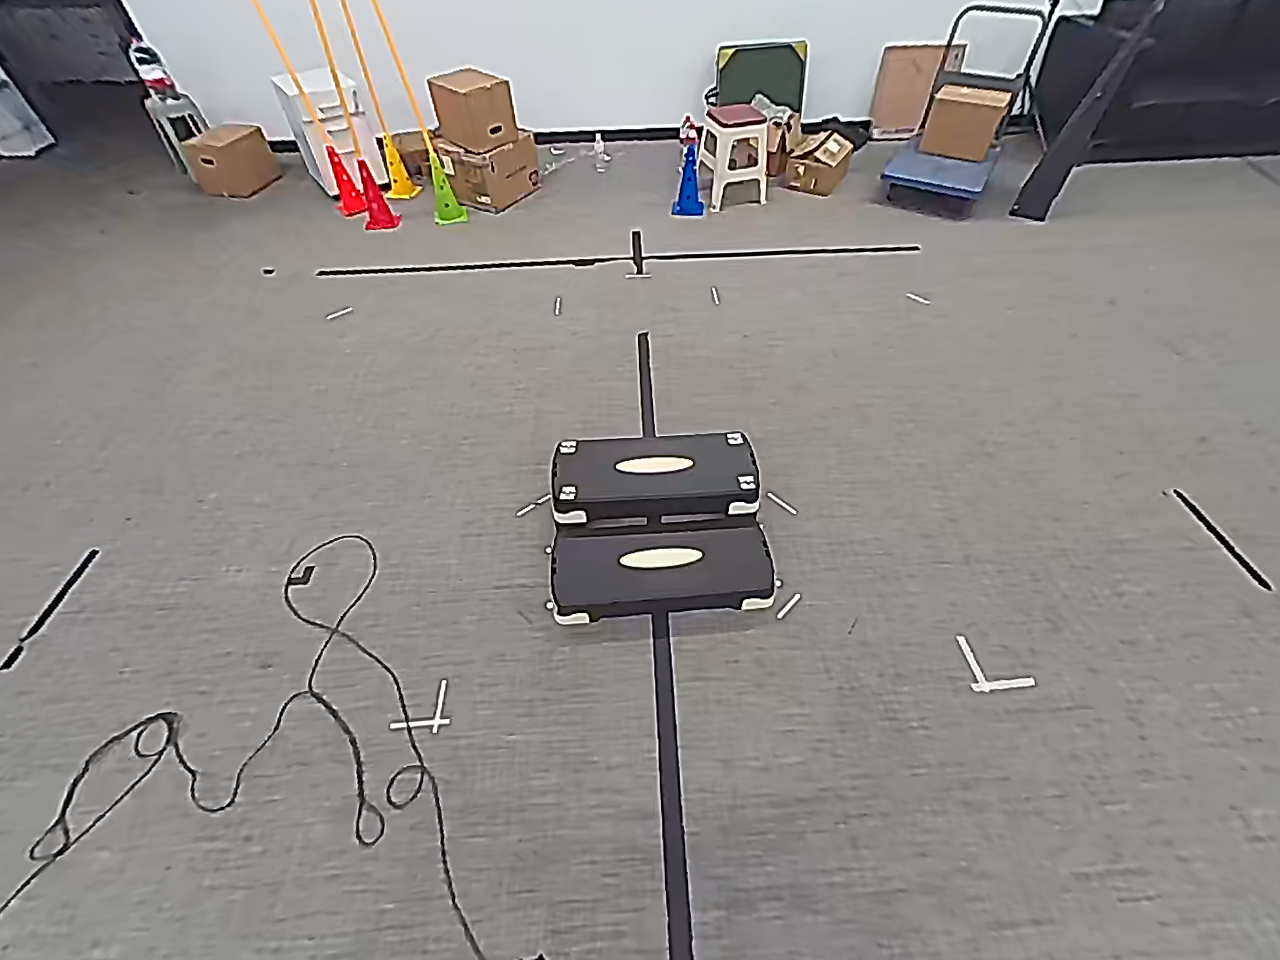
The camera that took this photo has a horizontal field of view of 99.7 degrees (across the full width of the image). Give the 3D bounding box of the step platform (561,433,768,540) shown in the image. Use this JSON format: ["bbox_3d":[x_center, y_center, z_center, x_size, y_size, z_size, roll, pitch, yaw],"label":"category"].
[{"bbox_3d":[0.078,0.013,1.824,0.684,0.204,0.286,-3,49,-3],"label":"step platform"}]
